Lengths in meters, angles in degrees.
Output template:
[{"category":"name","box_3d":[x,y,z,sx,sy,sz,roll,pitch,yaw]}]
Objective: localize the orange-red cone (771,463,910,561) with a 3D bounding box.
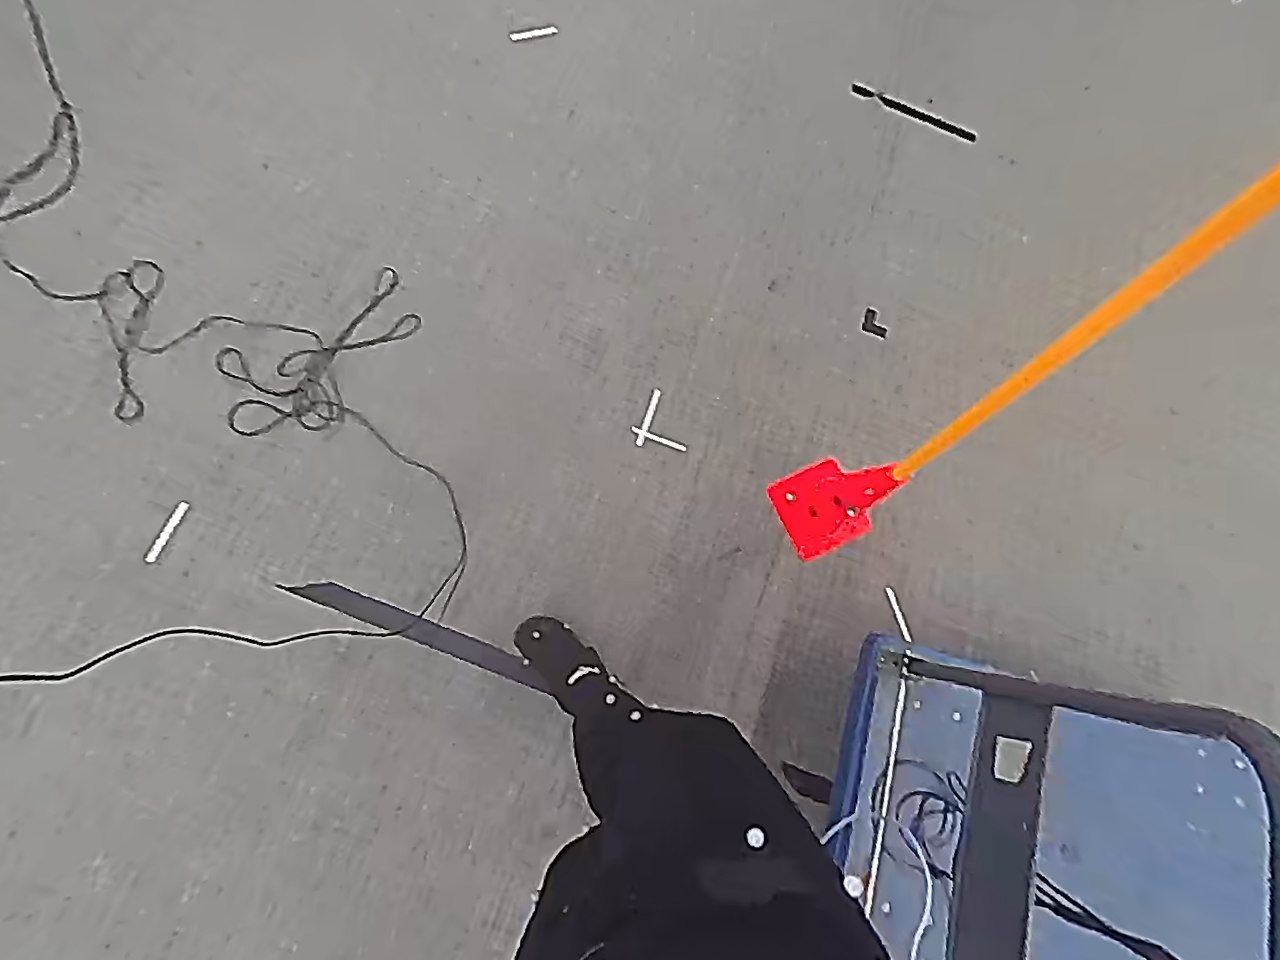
[{"category":"orange-red cone","box_3d":[0.445,0.037,1.121,0.198,0.360,0.199,-23,81,-9]}]
